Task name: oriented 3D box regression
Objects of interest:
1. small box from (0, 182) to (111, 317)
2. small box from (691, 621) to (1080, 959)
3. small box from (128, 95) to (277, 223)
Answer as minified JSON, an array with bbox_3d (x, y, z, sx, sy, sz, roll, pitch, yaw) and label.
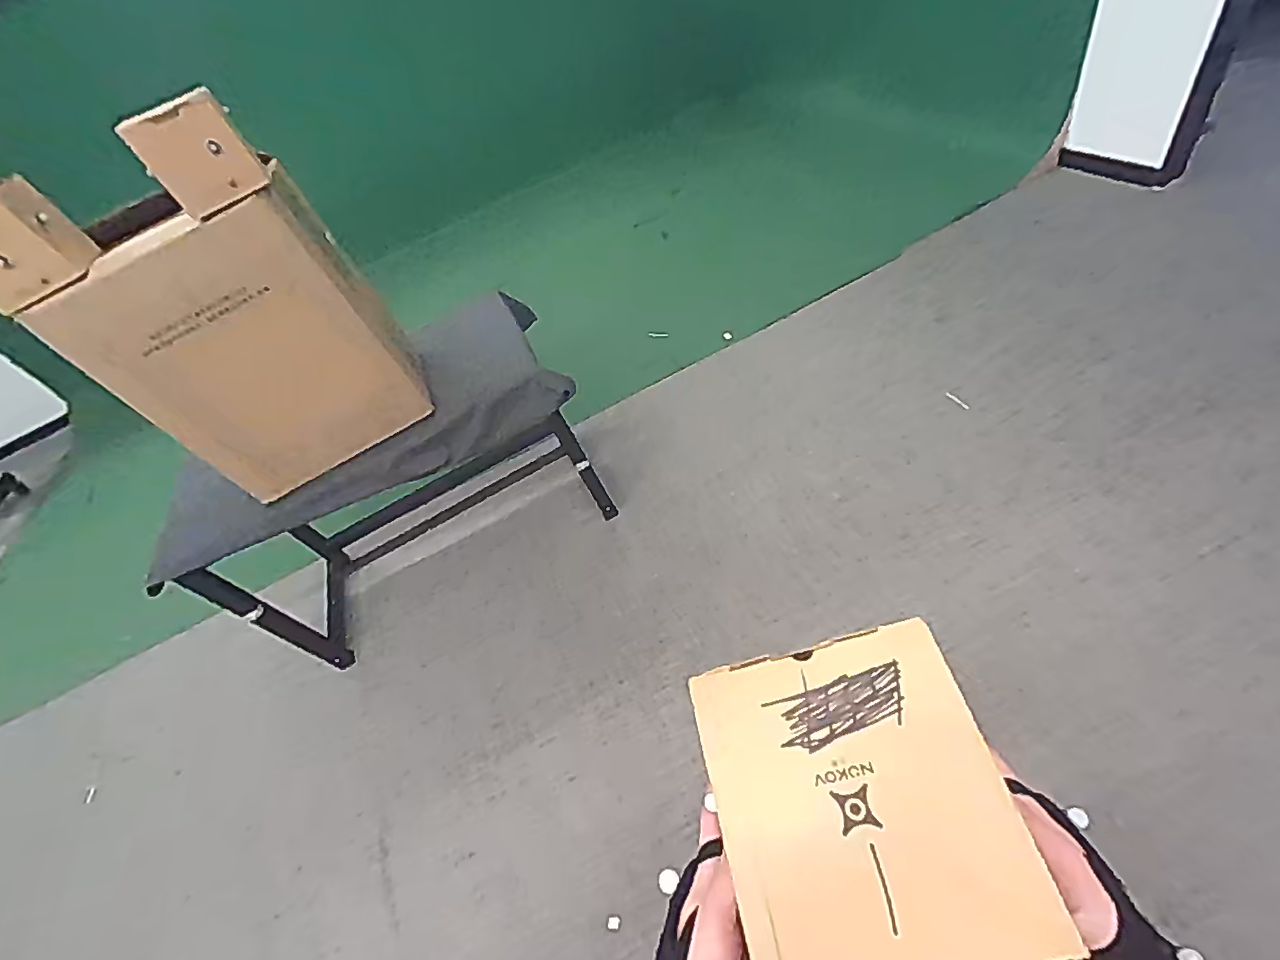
[{"bbox_3d":[-1.218,-0.453,1.075,0.168,0.176,0.179,-33,47,-6],"label":"small box"},{"bbox_3d":[0.148,0.226,0.387,0.168,0.176,0.179,-18,56,9],"label":"small box"},{"bbox_3d":[-0.872,-0.647,1.097,0.168,0.176,0.179,-34,46,-11],"label":"small box"}]
